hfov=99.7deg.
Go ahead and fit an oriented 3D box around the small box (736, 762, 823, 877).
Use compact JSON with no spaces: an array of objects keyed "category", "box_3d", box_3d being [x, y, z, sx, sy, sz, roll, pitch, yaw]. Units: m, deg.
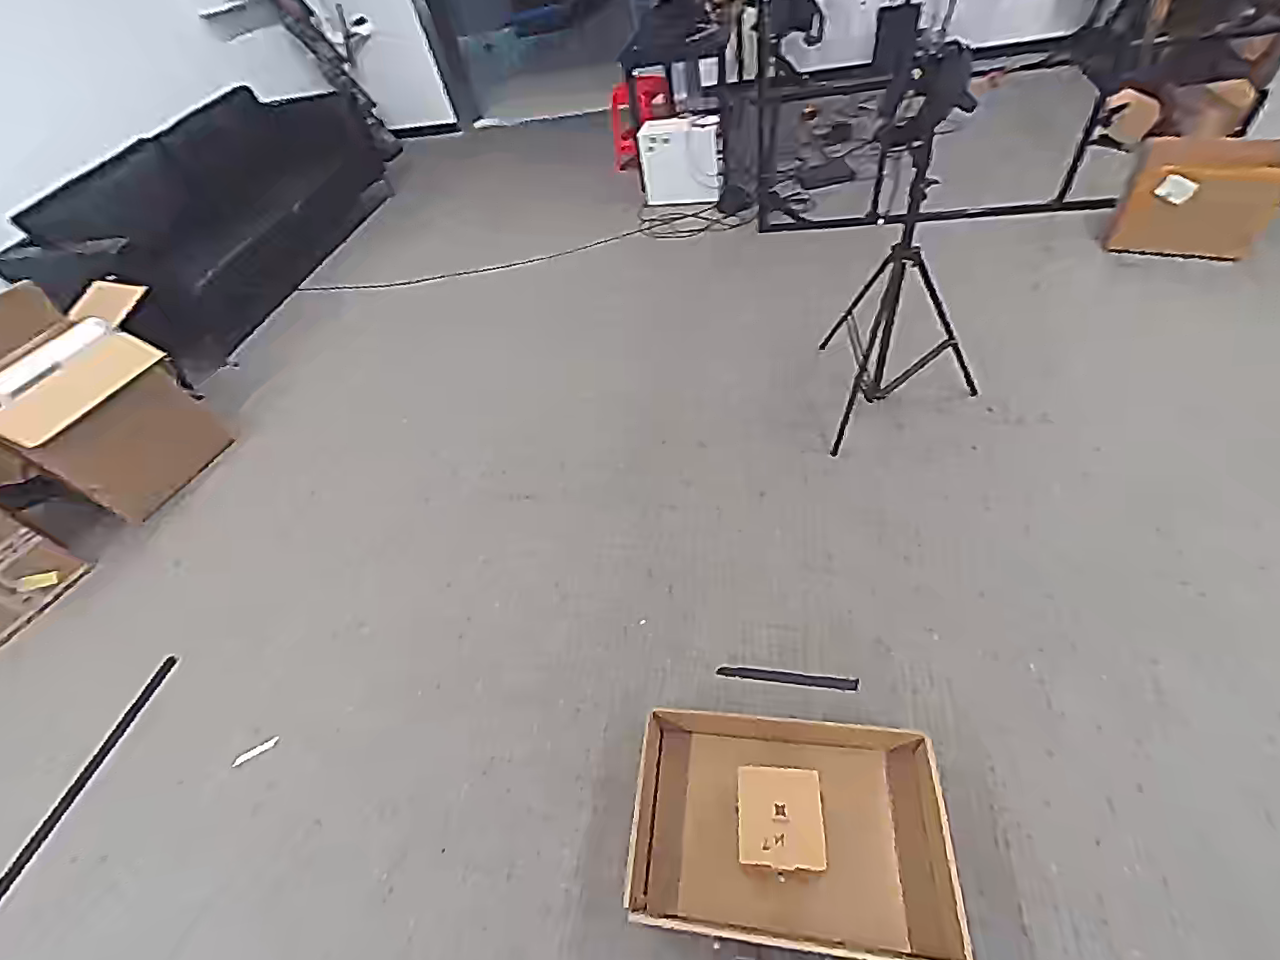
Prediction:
[{"category":"small box","box_3d":[0.287,0.718,1.144,0.168,0.176,0.179,-2,50,11]}]
